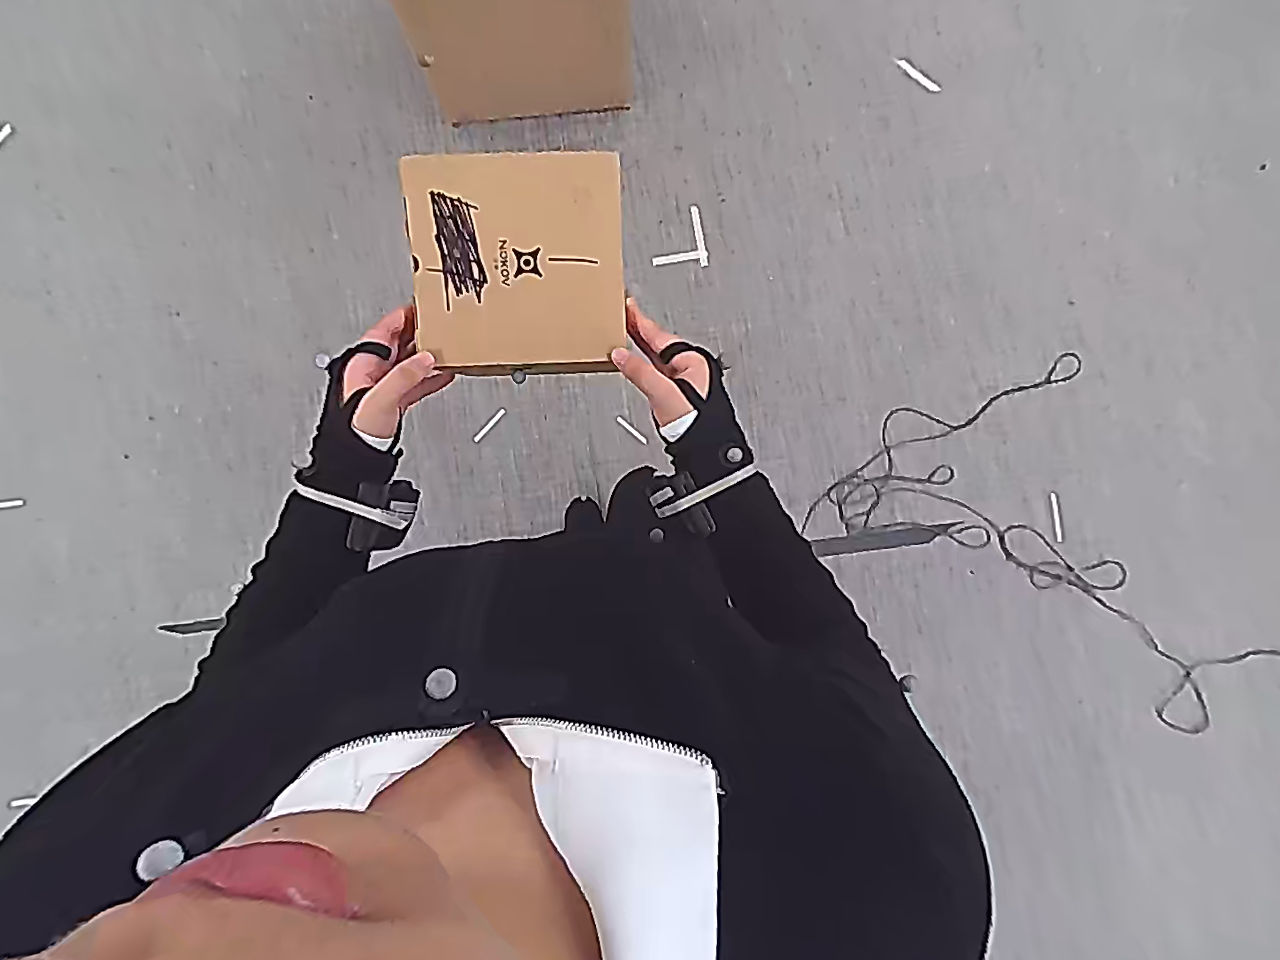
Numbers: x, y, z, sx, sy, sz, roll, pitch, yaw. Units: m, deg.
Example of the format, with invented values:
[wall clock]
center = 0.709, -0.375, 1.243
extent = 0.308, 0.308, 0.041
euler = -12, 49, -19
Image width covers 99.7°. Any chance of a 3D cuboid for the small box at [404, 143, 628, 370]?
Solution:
[small box]
center = -0.102, -0.197, 0.521
extent = 0.179, 0.176, 0.168
euler = -3, 98, -2
